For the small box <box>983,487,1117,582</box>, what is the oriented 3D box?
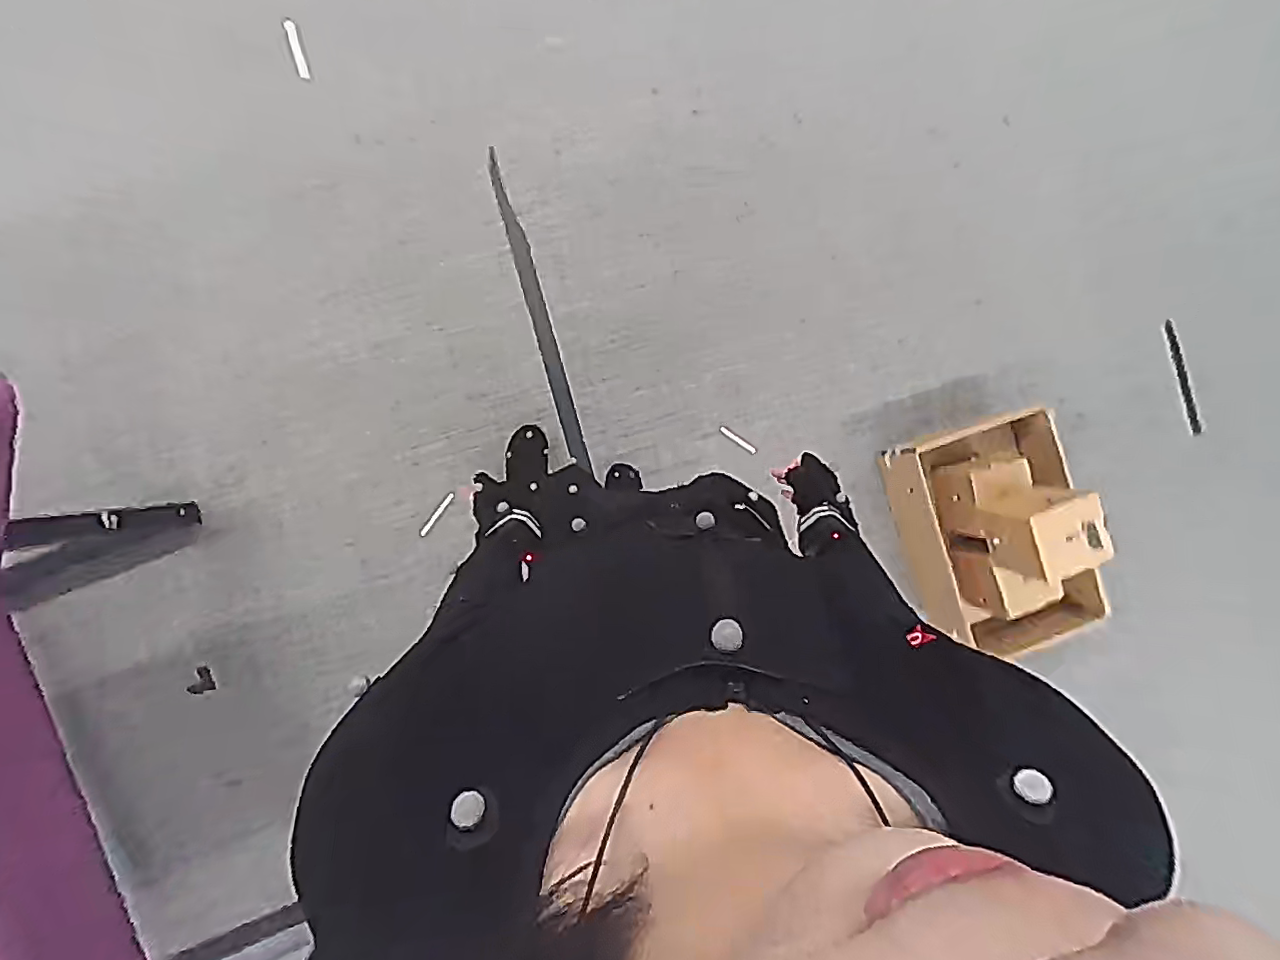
[{"bbox_3d":[0.983,0.124,1.308,0.179,0.176,0.168,-21,95,-3],"label":"small box"}]
